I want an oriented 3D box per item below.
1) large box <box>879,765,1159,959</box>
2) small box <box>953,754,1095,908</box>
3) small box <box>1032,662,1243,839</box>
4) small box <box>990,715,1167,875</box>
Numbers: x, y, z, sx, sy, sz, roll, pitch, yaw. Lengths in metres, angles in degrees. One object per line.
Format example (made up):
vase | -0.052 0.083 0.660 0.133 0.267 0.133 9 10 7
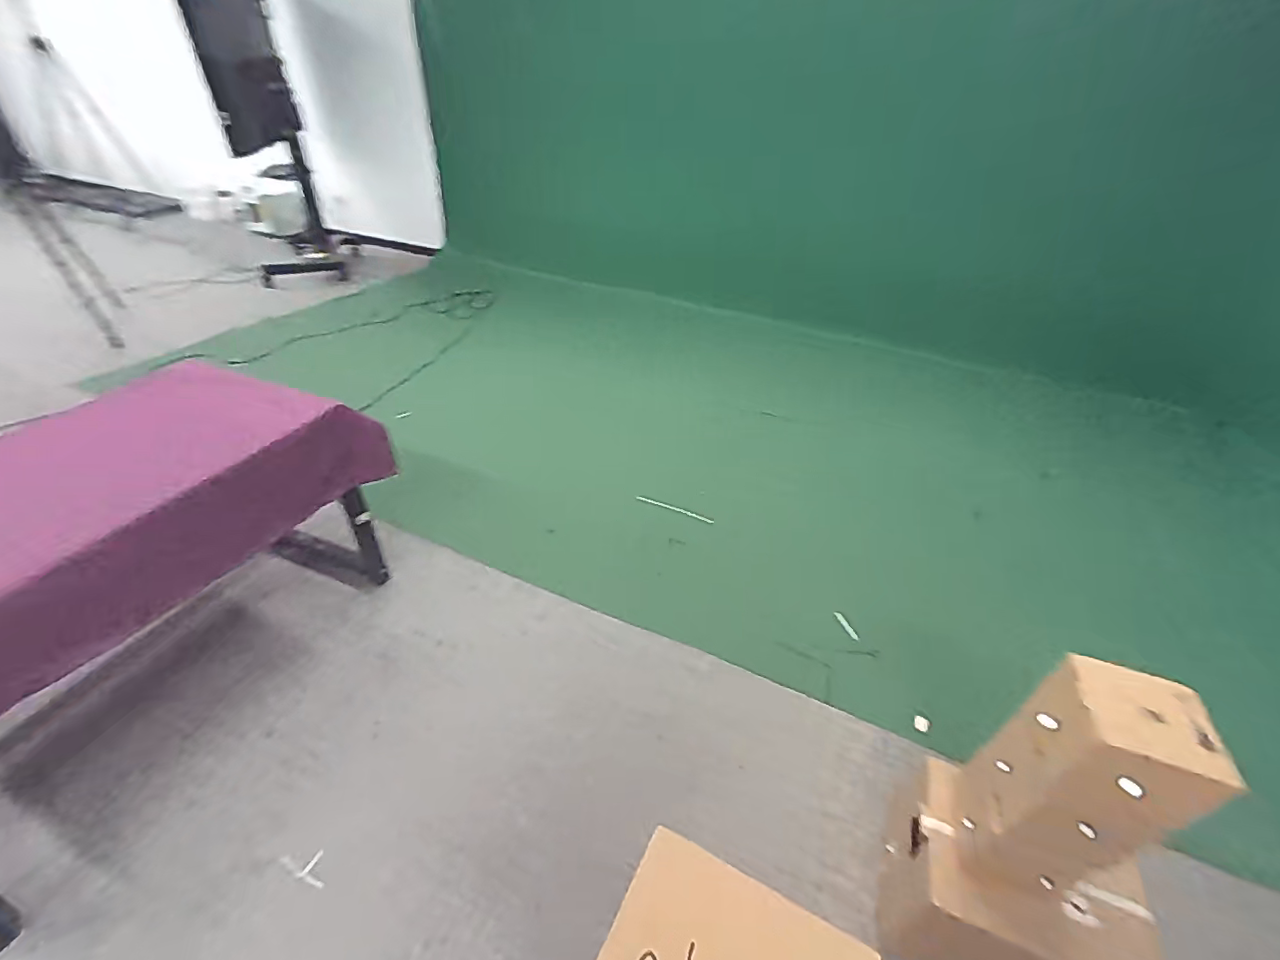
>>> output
large box | 0.778 0.913 1.174 0.408 0.320 0.320 18 39 16
small box | 0.736 0.689 1.061 0.168 0.176 0.179 17 38 16
small box | 0.762 0.430 0.861 0.179 0.176 0.168 15 38 14
small box | 0.753 0.561 0.960 0.179 0.176 0.168 15 38 12
